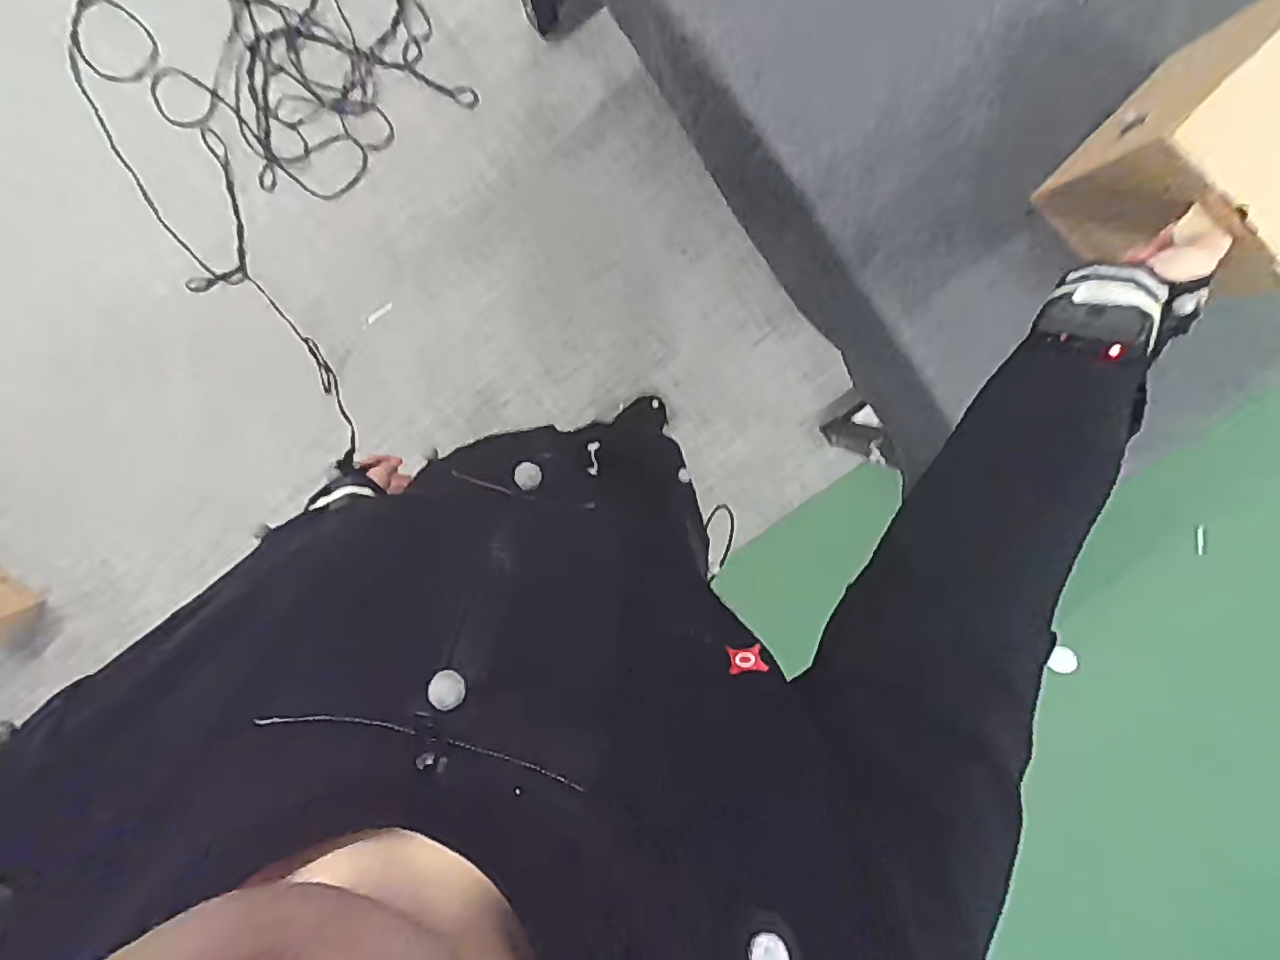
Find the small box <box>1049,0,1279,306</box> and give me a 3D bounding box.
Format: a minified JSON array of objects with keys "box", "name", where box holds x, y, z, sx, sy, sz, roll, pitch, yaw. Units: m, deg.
[{"box":[0.505,-0.273,0.464,0.168,0.176,0.179,42,100,-6],"name":"small box"}]
